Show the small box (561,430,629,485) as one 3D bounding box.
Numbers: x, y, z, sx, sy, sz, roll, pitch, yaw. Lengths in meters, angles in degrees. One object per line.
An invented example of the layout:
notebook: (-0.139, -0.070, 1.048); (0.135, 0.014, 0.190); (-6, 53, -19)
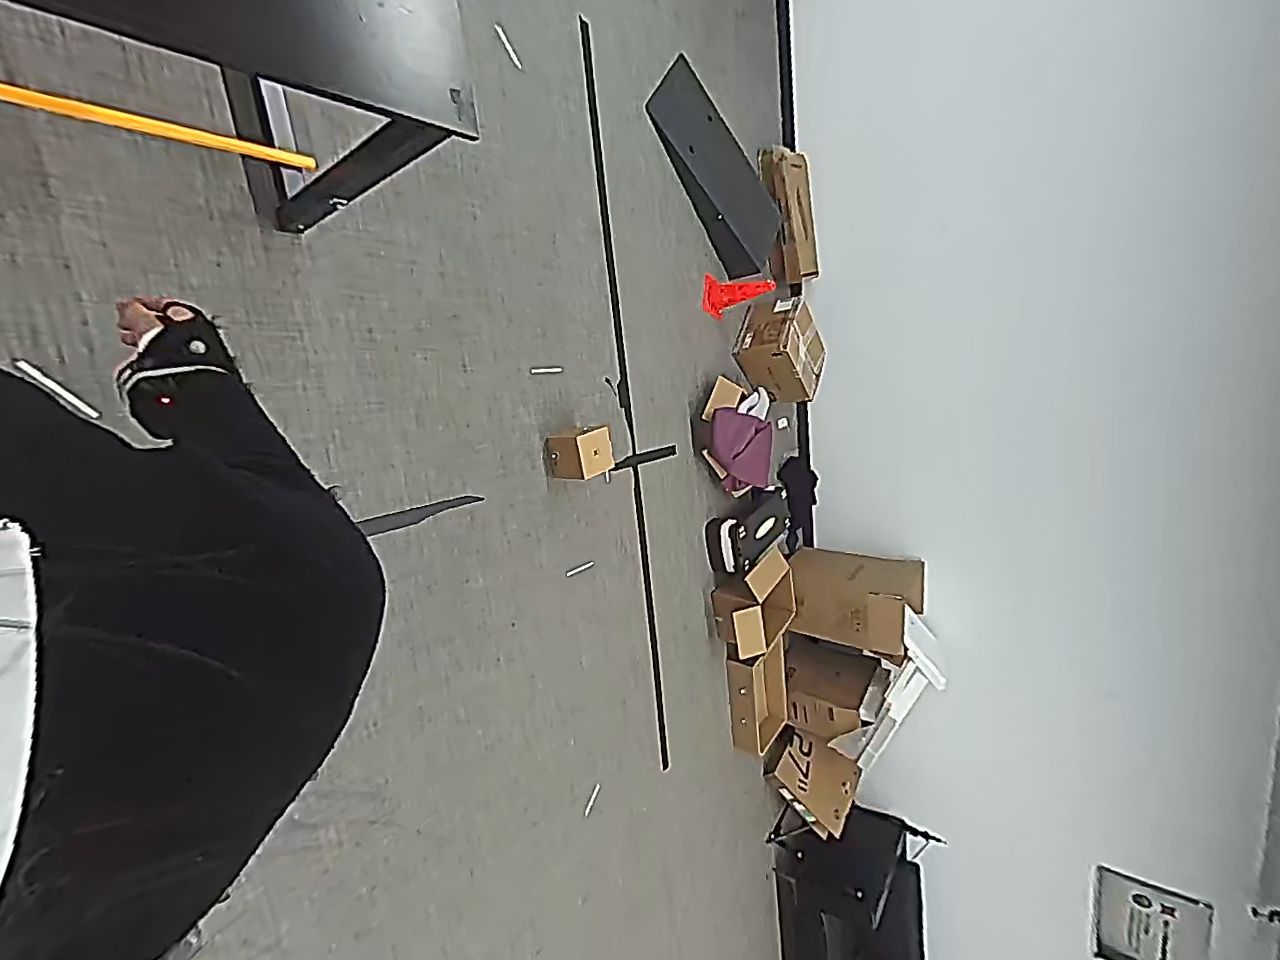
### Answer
small box: (-0.169, -0.090, 2.034); (0.179, 0.176, 0.168); (-28, 113, -47)
